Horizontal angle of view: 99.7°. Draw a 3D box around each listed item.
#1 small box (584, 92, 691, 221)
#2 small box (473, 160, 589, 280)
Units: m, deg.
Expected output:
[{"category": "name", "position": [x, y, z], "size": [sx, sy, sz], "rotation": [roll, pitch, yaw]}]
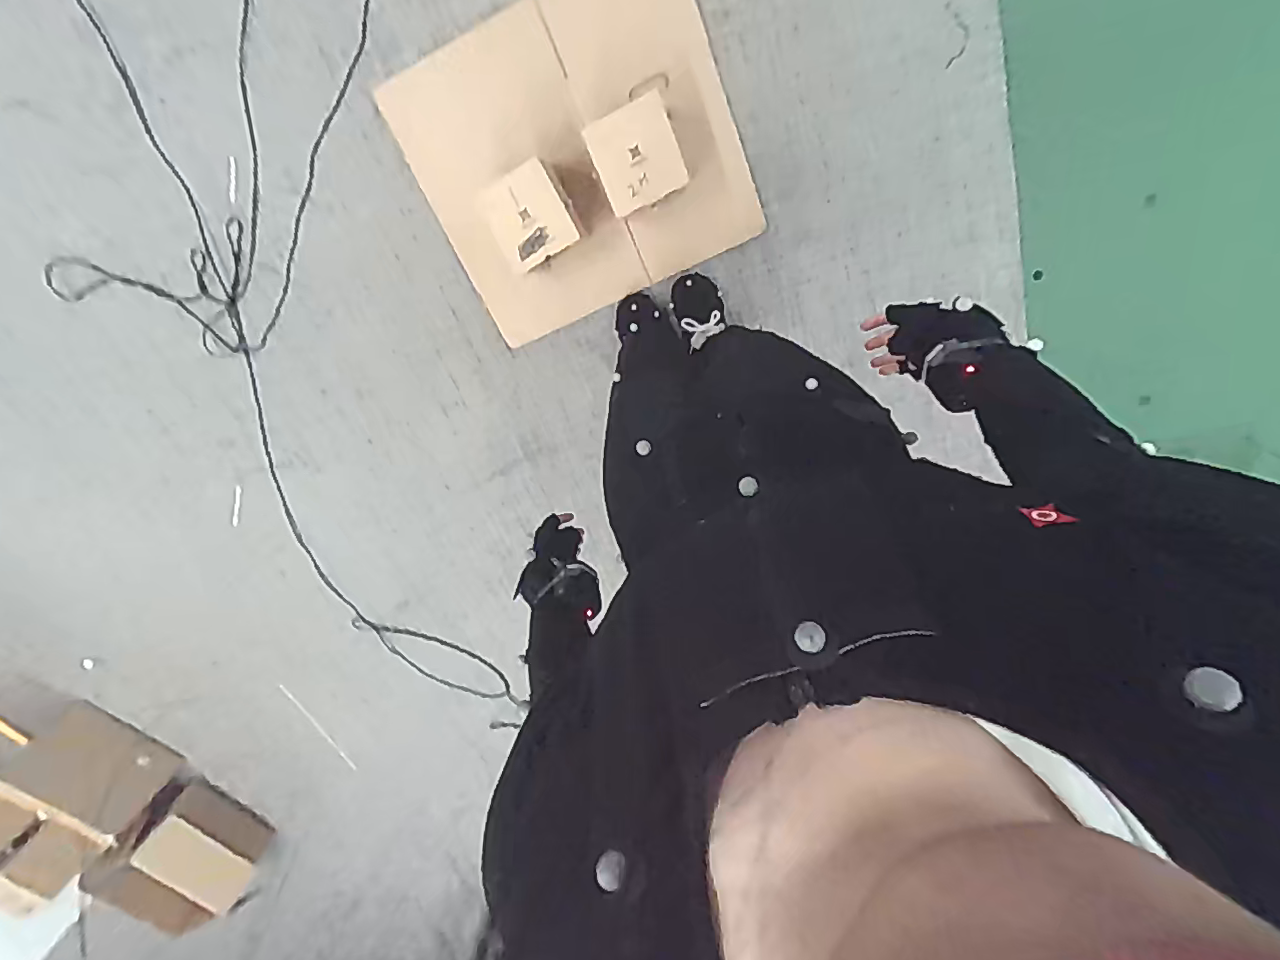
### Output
[{"category": "small box", "position": [-0.002, -0.665, 1.137], "size": [0.168, 0.176, 0.179], "rotation": [-21, 112, 12]}, {"category": "small box", "position": [-0.228, -0.564, 1.185], "size": [0.168, 0.176, 0.179], "rotation": [-26, 110, 13]}]
